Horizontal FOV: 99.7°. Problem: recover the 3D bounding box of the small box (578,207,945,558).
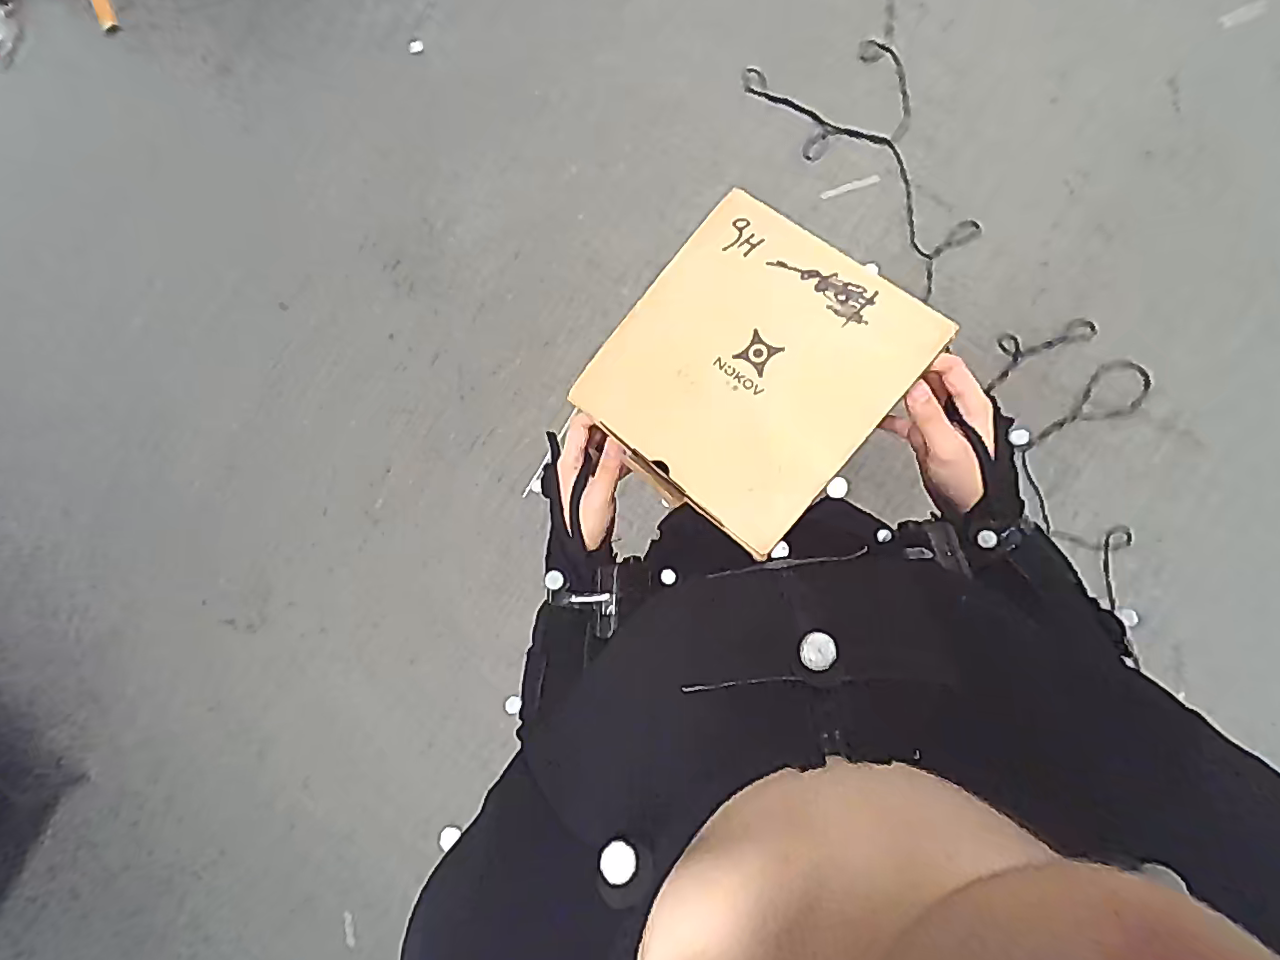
[{"bbox_3d":[0.089,-0.056,0.419,0.168,0.176,0.179,40,93,16],"label":"small box"}]
